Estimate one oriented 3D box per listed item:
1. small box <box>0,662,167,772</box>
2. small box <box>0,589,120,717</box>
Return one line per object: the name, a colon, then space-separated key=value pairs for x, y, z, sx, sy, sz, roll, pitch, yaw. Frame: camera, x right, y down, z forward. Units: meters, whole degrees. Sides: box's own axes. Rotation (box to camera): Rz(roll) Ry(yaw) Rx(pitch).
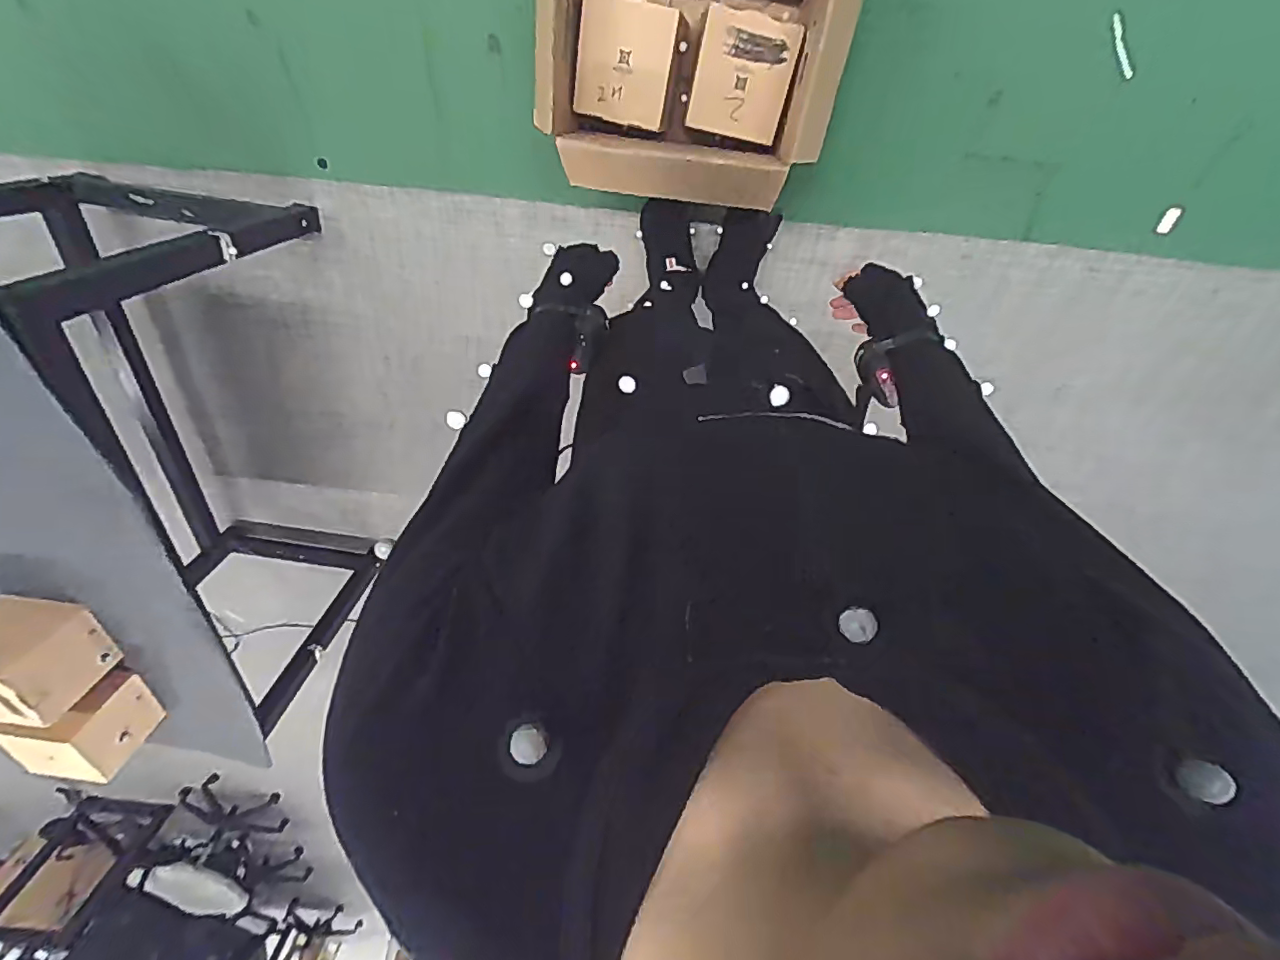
small box: x=-1.205 y=0.512 z=1.193 sx=0.179 sy=0.176 sz=0.168 roll=7 pitch=126 yaw=2
small box: x=-1.187 y=0.334 z=1.059 sx=0.179 sy=0.176 sz=0.168 roll=8 pitch=126 yaw=2
